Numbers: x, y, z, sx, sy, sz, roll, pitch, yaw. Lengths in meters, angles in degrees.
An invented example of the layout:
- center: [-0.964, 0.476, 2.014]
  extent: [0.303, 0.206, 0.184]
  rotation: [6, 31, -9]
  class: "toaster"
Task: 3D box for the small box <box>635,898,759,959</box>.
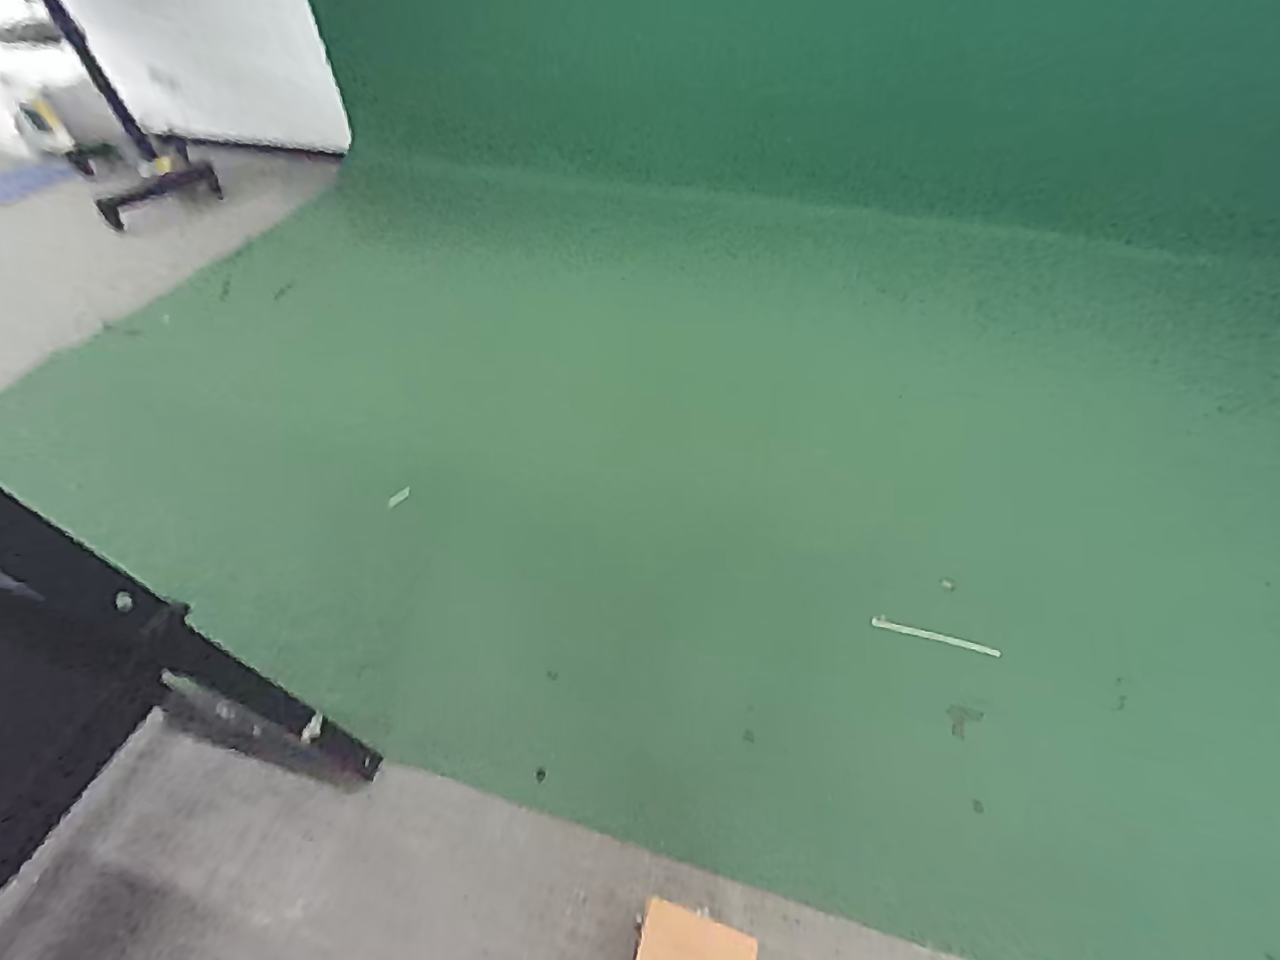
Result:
- center: [0.069, 0.756, 0.799]
  extent: [0.168, 0.176, 0.179]
  rotation: [14, 51, 11]
  class: "small box"
